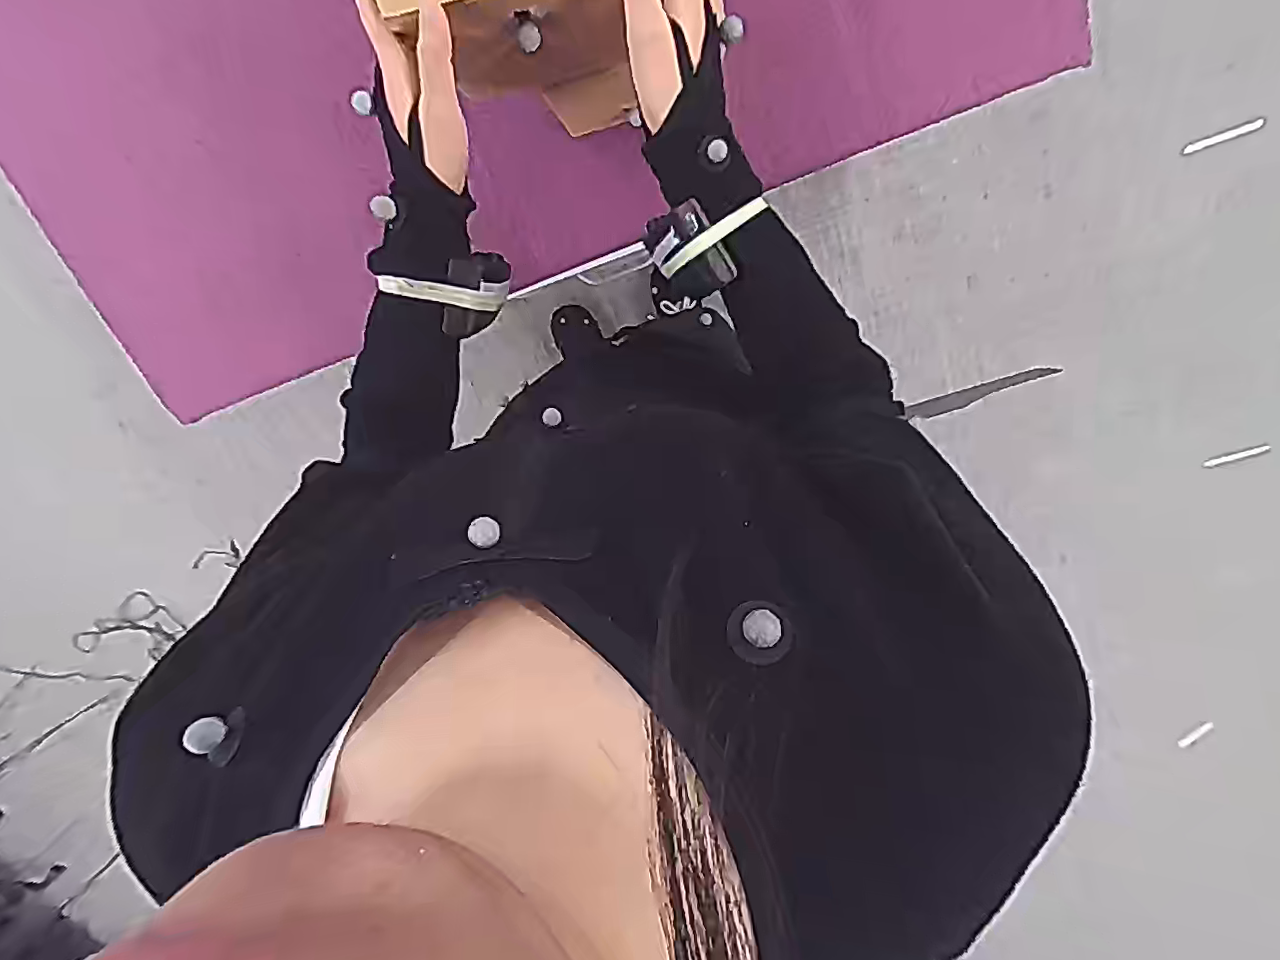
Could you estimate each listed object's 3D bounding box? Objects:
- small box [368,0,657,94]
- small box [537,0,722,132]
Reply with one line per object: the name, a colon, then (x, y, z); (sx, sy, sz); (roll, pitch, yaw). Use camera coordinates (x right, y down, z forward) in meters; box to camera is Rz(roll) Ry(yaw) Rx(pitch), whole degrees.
small box: (-0.083, -0.387, 0.358); (0.179, 0.176, 0.168); (-8, 112, 7)
small box: (-0.023, -0.457, 0.503); (0.168, 0.176, 0.179); (-10, 111, 7)
